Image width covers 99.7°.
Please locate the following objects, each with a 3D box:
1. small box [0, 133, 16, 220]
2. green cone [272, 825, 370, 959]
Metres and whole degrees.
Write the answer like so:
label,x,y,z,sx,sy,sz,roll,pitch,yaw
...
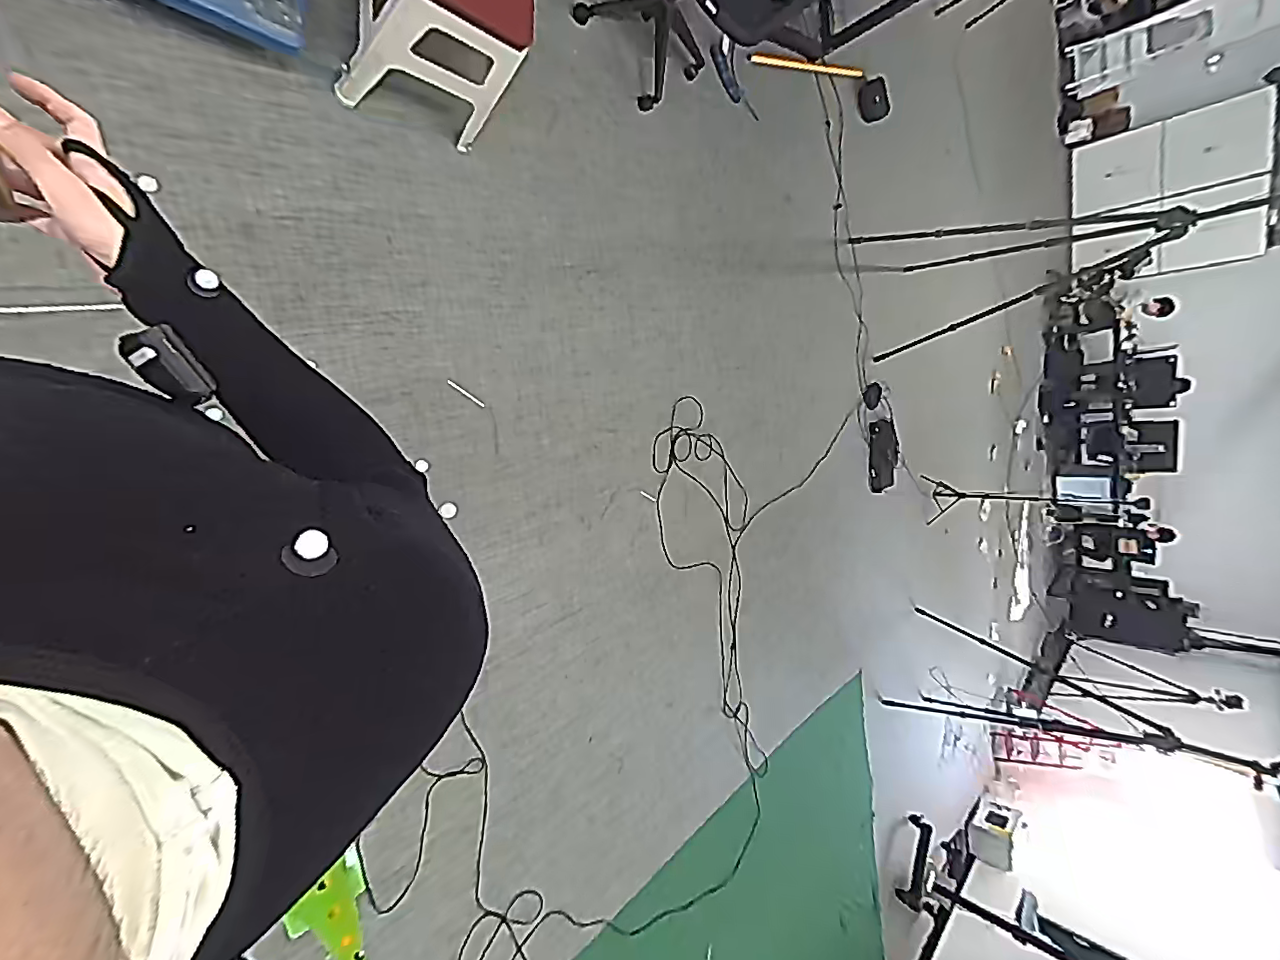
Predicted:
label,x,y,z,sx,sy,sz,roll,pitch,yaw
small box,-0.527,-0.278,0.324,0.168,0.176,0.179,-14,105,-41
green cone,-0.781,1.117,1.395,0.202,0.368,0.200,-20,107,-41
